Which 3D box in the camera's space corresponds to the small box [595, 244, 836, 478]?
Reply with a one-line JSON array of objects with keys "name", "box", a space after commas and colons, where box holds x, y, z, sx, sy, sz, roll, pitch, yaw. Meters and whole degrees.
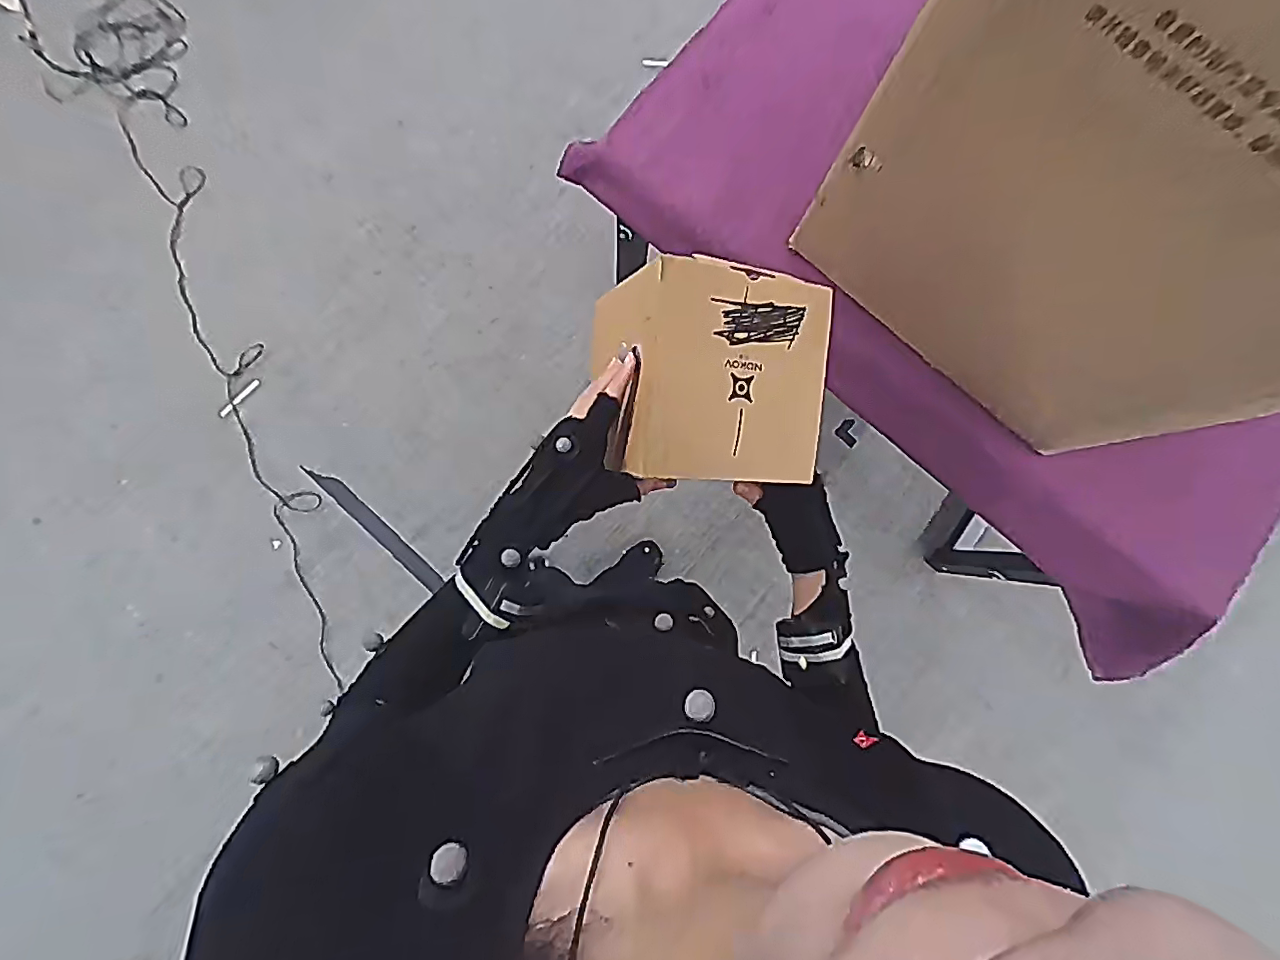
[{"name": "small box", "box": [0.060, -0.097, 0.516, 0.168, 0.176, 0.179, 2, 95, -22]}]
